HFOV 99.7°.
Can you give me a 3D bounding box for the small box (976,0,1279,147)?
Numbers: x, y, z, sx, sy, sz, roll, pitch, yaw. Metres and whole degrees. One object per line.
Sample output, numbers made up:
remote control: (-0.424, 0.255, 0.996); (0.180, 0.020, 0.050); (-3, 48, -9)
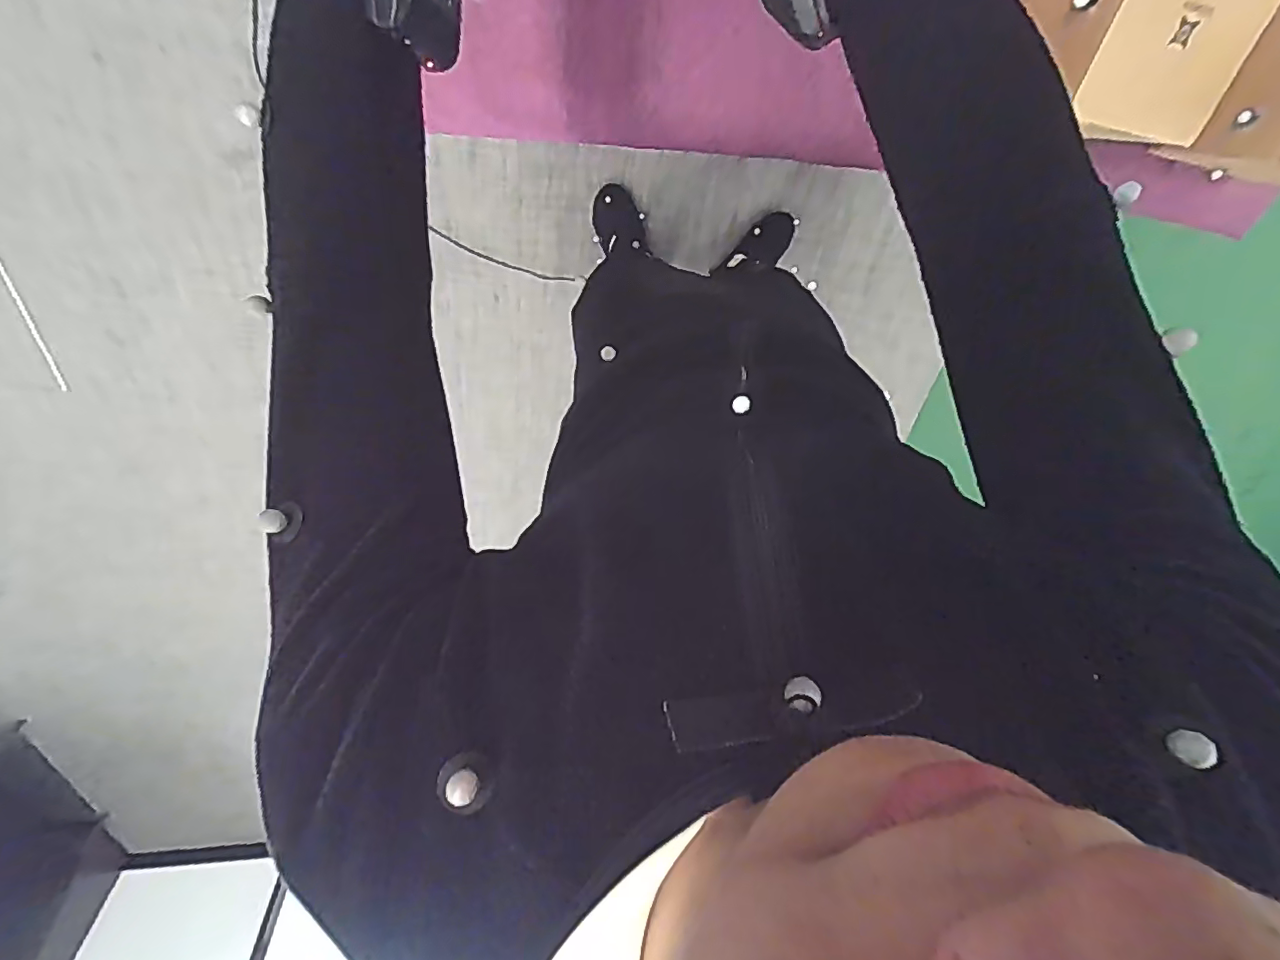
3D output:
small box: (0.505, -0.475, 0.576); (0.168, 0.176, 0.179); (4, 123, -11)
